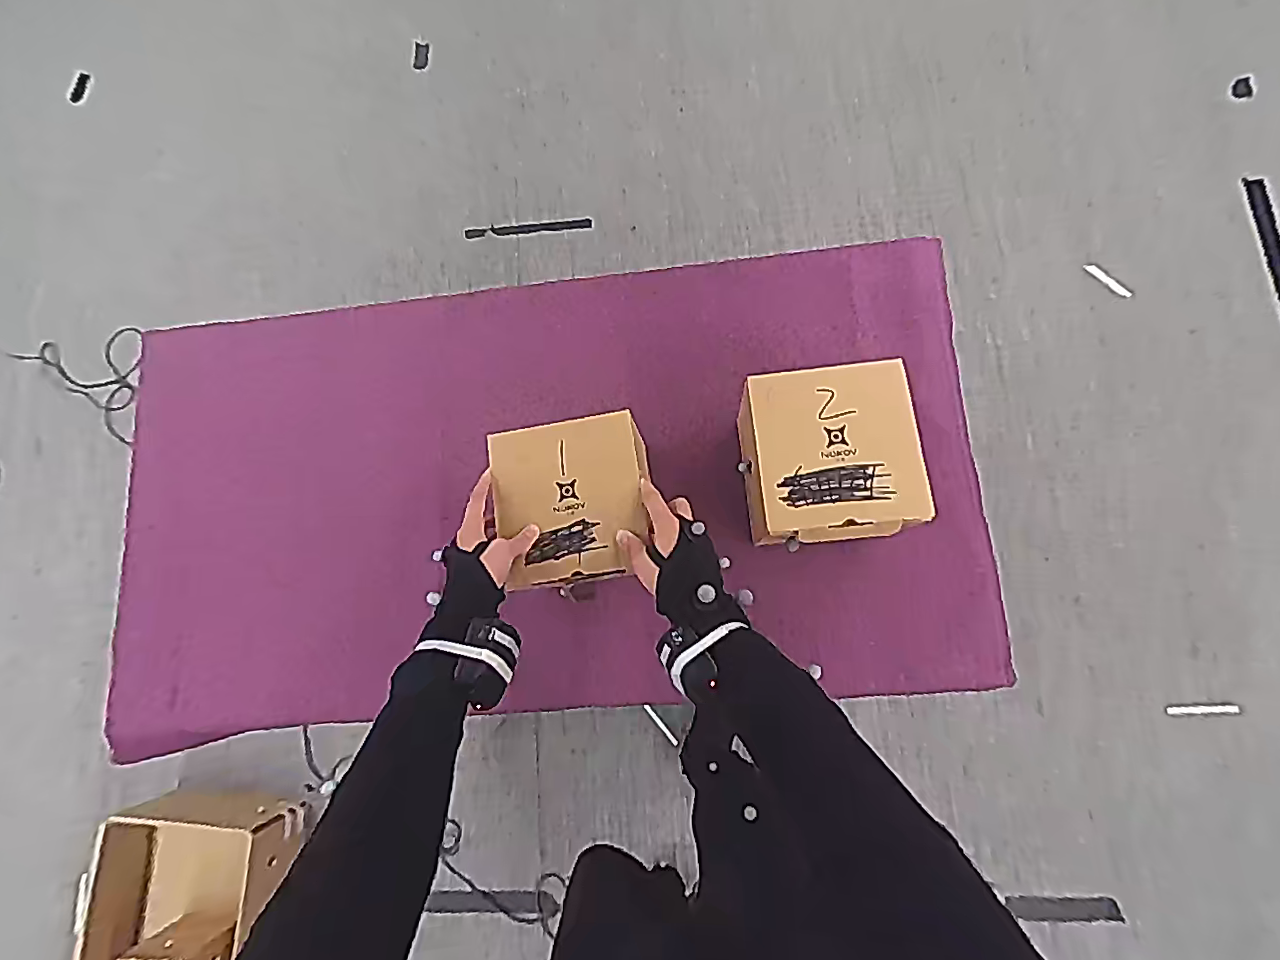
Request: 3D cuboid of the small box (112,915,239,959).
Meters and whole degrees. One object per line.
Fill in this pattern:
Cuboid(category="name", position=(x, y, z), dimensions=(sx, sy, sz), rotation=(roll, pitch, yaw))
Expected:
Cuboid(category="small box", position=(-1.083, 1.155, 1.261), dimensions=(0.179, 0.176, 0.168), rotation=(-3, 78, 6))

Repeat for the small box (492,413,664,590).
Cuboid(category="small box", position=(-0.066, 0.036, 0.664), dimensions=(0.168, 0.176, 0.179), rotation=(-9, 78, 4))
